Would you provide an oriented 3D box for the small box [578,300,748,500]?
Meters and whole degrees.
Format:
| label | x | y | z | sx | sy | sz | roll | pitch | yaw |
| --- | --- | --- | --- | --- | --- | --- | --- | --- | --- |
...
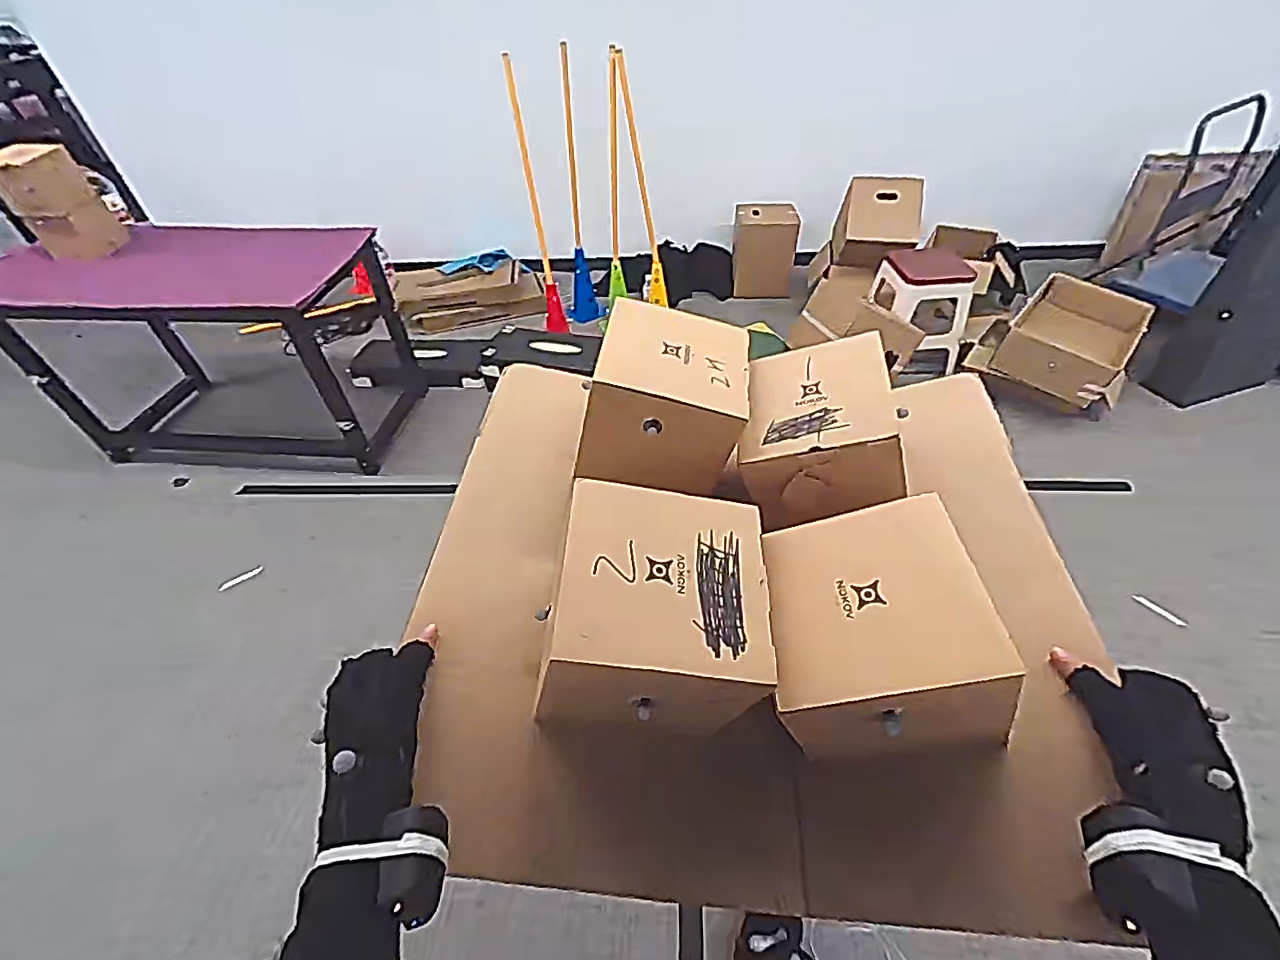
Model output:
| label | x | y | z | sx | sy | sz | roll | pitch | yaw |
| --- | --- | --- | --- | --- | --- | --- | --- | --- | --- |
| small box | 0.026 | -0.095 | 0.692 | 0.179 | 0.176 | 0.168 | 14 | 51 | -4 |
